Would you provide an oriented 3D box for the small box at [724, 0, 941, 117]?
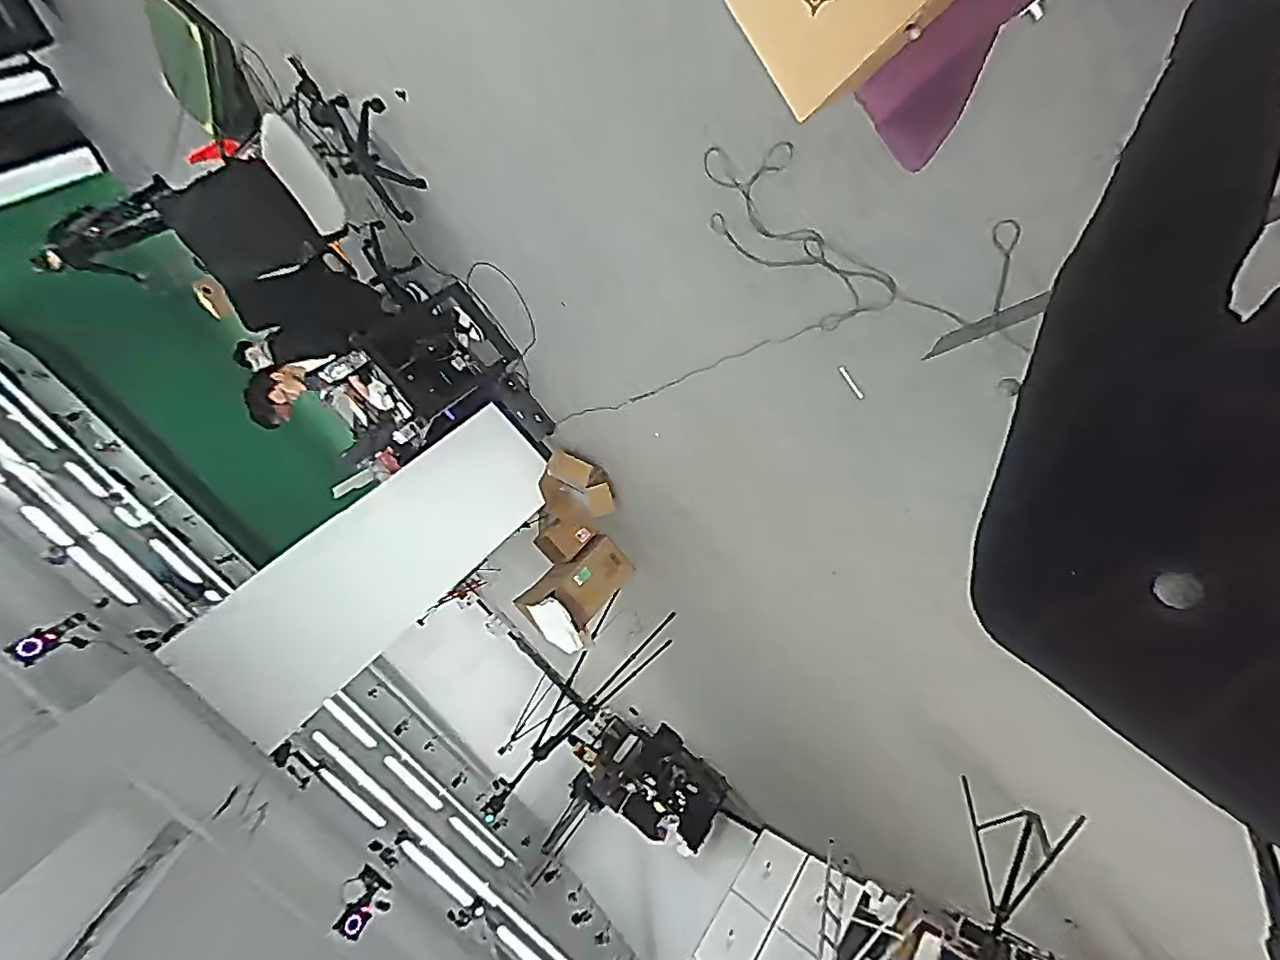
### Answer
[{"bbox_3d":[0.231,-0.560,0.600,0.168,0.176,0.179,51,151,-12],"label":"small box"}]
